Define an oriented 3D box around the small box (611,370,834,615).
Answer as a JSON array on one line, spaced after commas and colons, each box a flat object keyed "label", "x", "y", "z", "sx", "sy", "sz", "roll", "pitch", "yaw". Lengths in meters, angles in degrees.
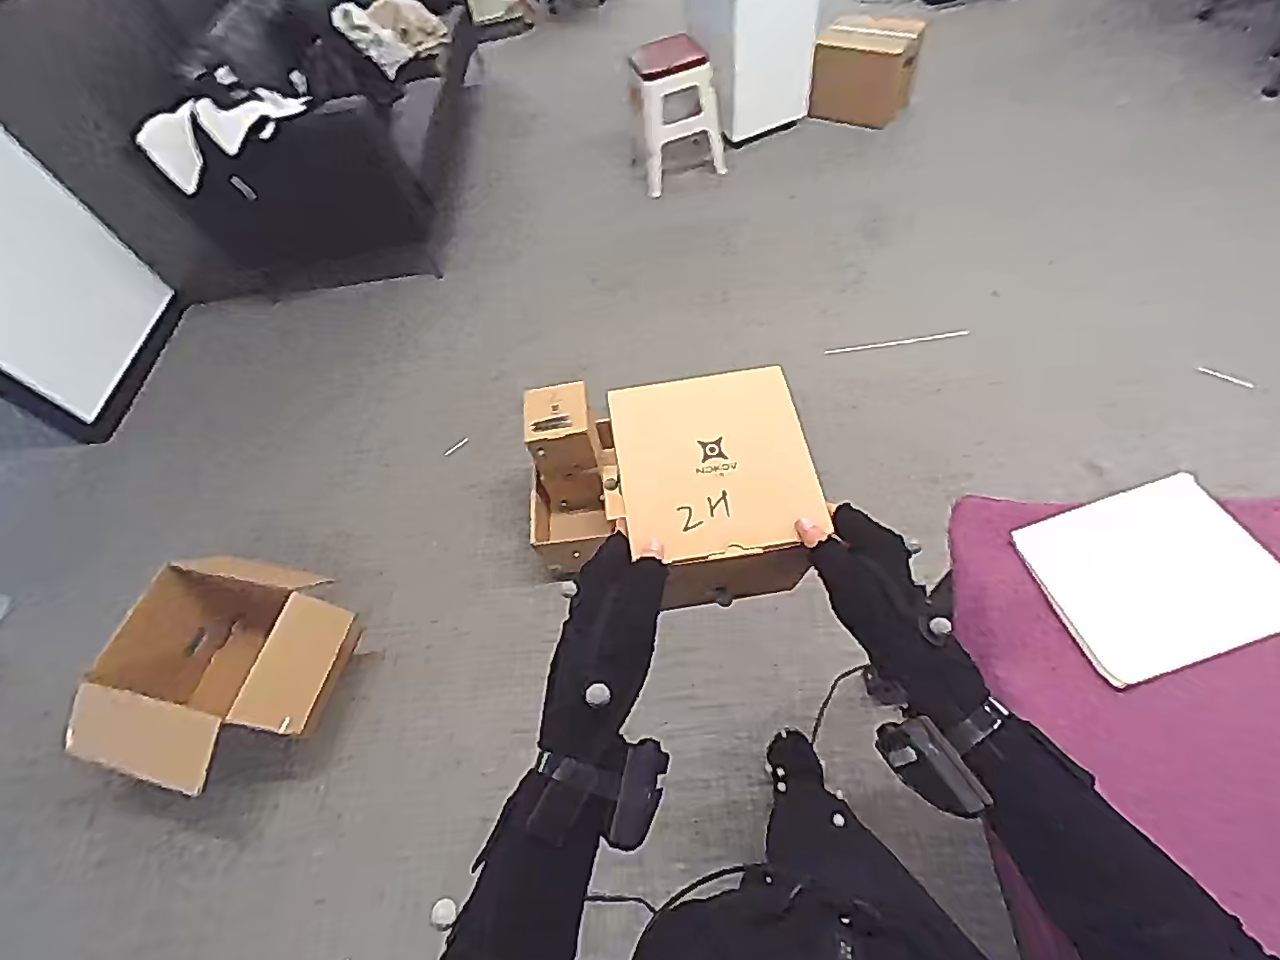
[{"label": "small box", "x": 0.065, "y": 0.019, "z": 0.533, "sx": 0.168, "sy": 0.176, "sz": 0.179, "roll": -8, "pitch": 64, "yaw": -1}]
